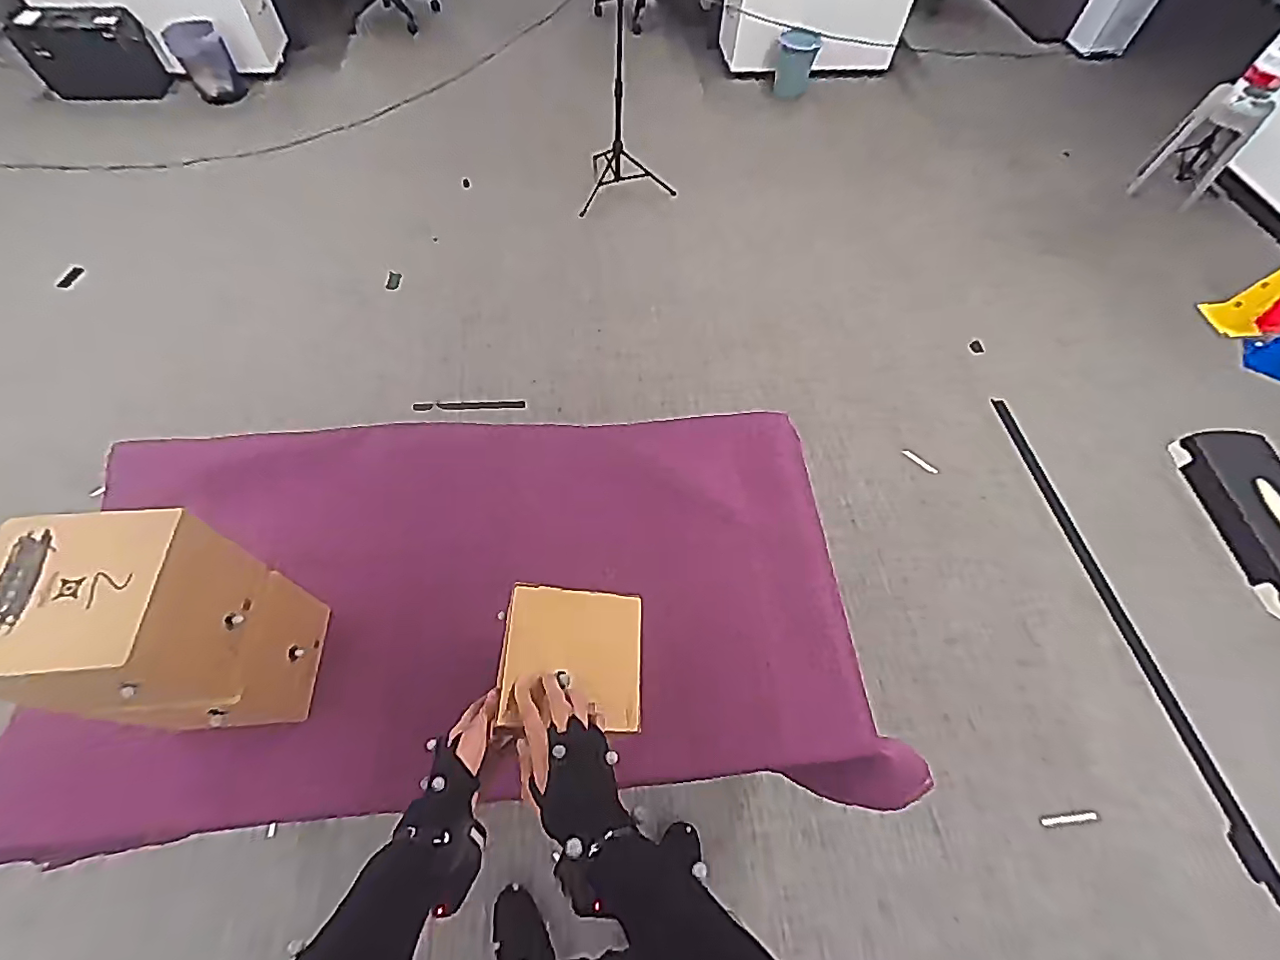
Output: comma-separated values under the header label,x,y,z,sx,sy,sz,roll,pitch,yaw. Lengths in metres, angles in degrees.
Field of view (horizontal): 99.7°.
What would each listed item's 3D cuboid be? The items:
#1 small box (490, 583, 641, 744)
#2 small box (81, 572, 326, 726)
label,x,y,z,sx,sy,sz,roll,pitch,yaw
small box,-0.103,0.253,0.720,0.168,0.179,0.176,10,60,-12
small box,-0.561,0.231,0.730,0.179,0.176,0.168,-2,59,-4
